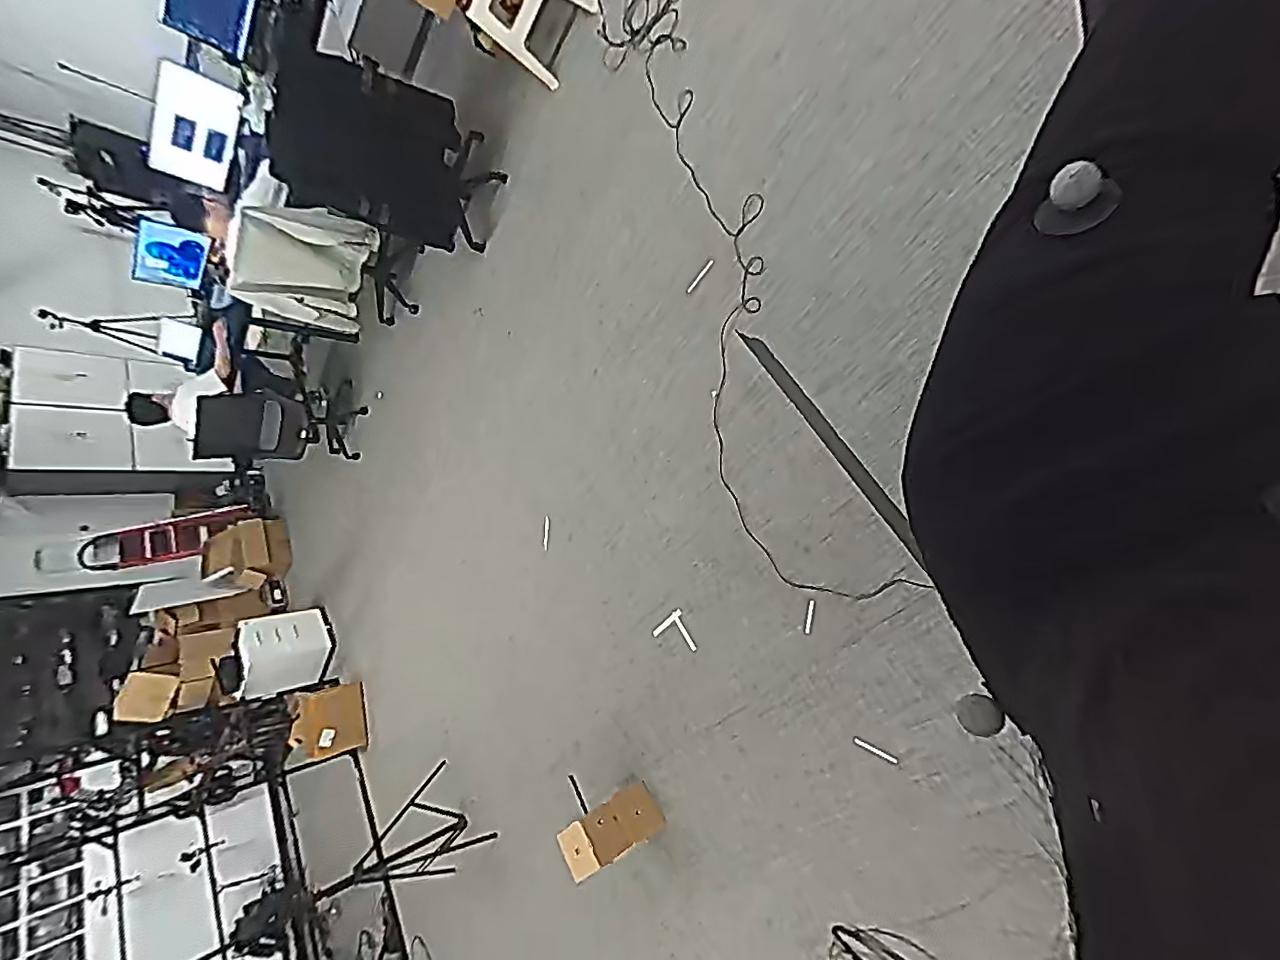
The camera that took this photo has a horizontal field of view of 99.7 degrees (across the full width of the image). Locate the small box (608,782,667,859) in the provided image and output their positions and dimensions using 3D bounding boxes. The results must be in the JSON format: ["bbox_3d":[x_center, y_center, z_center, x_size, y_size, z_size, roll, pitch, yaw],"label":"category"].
[{"bbox_3d":[-0.032,1.291,2.067,0.179,0.176,0.168,51,122,29],"label":"small box"}]

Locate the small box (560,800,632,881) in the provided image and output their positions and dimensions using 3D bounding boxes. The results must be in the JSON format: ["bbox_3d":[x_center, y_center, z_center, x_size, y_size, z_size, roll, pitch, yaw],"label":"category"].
[{"bbox_3d":[-0.152,1.298,1.956,0.179,0.176,0.168,-53,56,31],"label":"small box"}]
